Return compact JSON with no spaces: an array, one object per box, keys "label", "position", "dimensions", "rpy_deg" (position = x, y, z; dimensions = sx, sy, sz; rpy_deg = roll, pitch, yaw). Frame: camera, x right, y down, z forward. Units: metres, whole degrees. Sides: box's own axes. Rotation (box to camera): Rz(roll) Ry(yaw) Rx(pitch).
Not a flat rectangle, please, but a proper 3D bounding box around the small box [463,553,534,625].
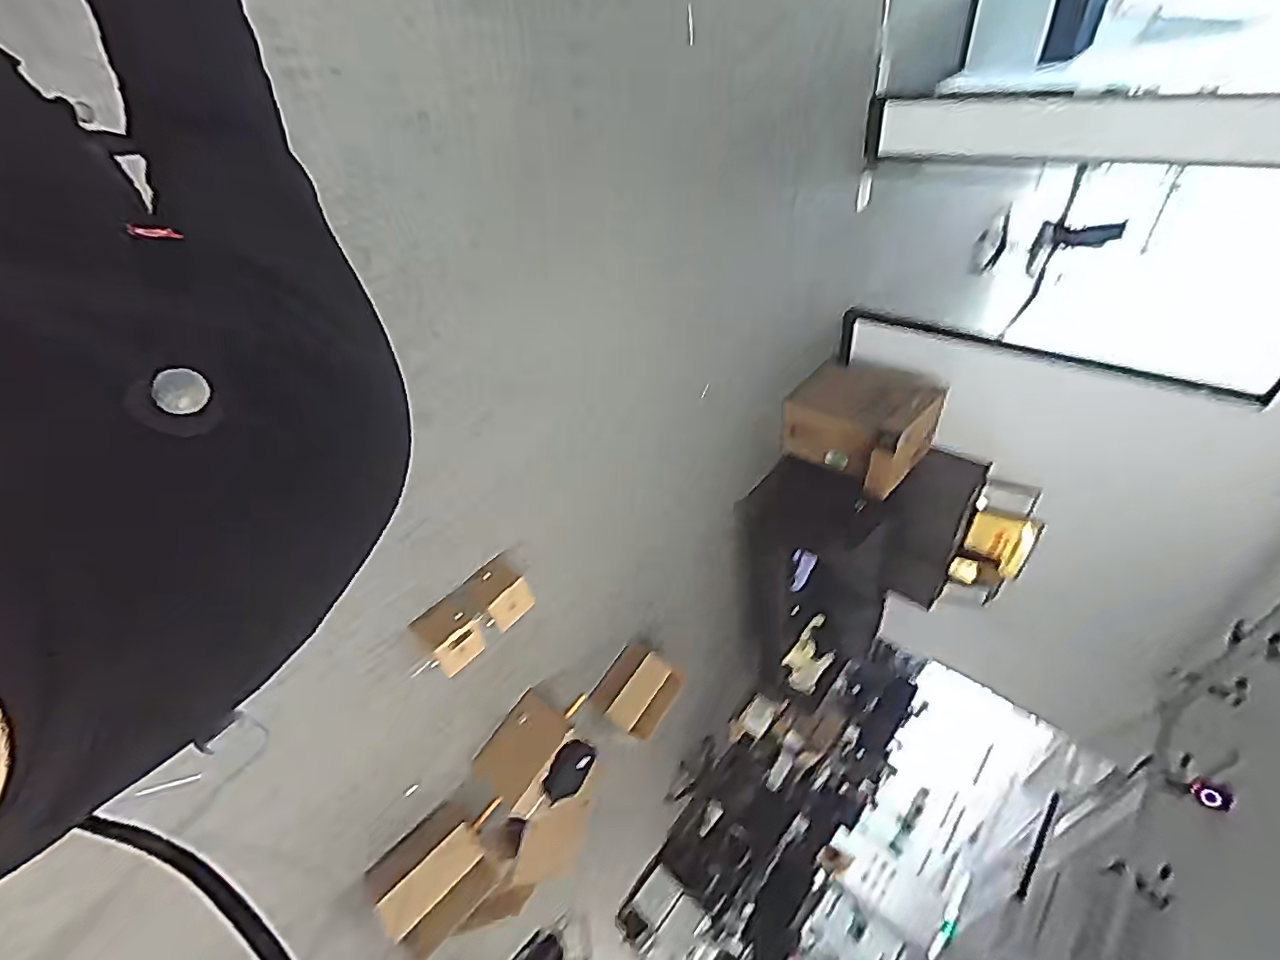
[{"label":"small box","position":[-0.538,0.409,2.052],"dimensions":[0.168,0.176,0.179],"rpy_deg":[-42,141,-28]}]
